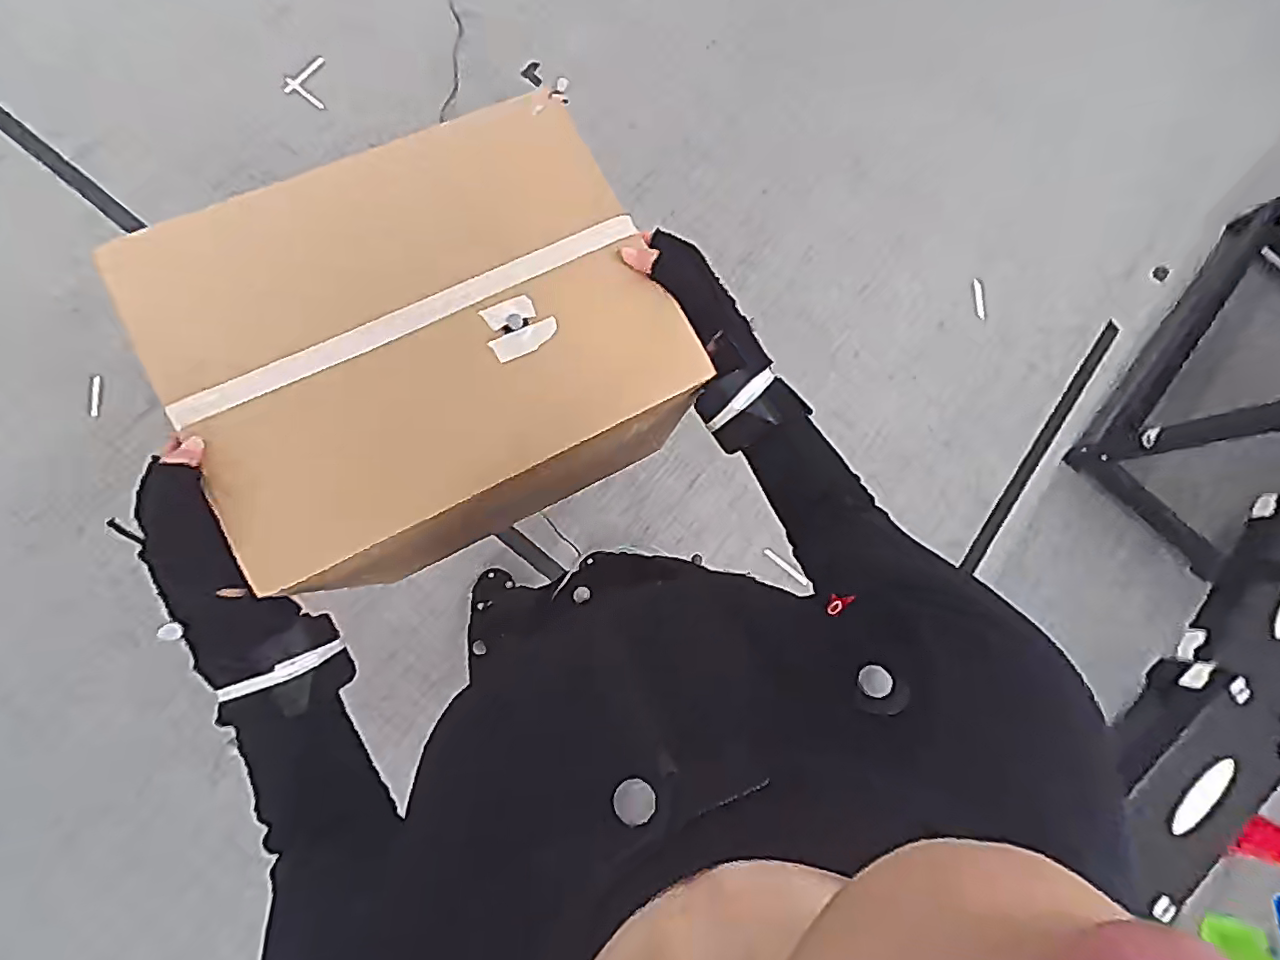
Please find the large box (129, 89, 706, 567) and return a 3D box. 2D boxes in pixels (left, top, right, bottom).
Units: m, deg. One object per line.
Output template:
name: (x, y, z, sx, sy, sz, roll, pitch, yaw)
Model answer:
large box: (-0.199, -0.129, 0.612, 0.408, 0.320, 0.320, -26, 87, -11)
